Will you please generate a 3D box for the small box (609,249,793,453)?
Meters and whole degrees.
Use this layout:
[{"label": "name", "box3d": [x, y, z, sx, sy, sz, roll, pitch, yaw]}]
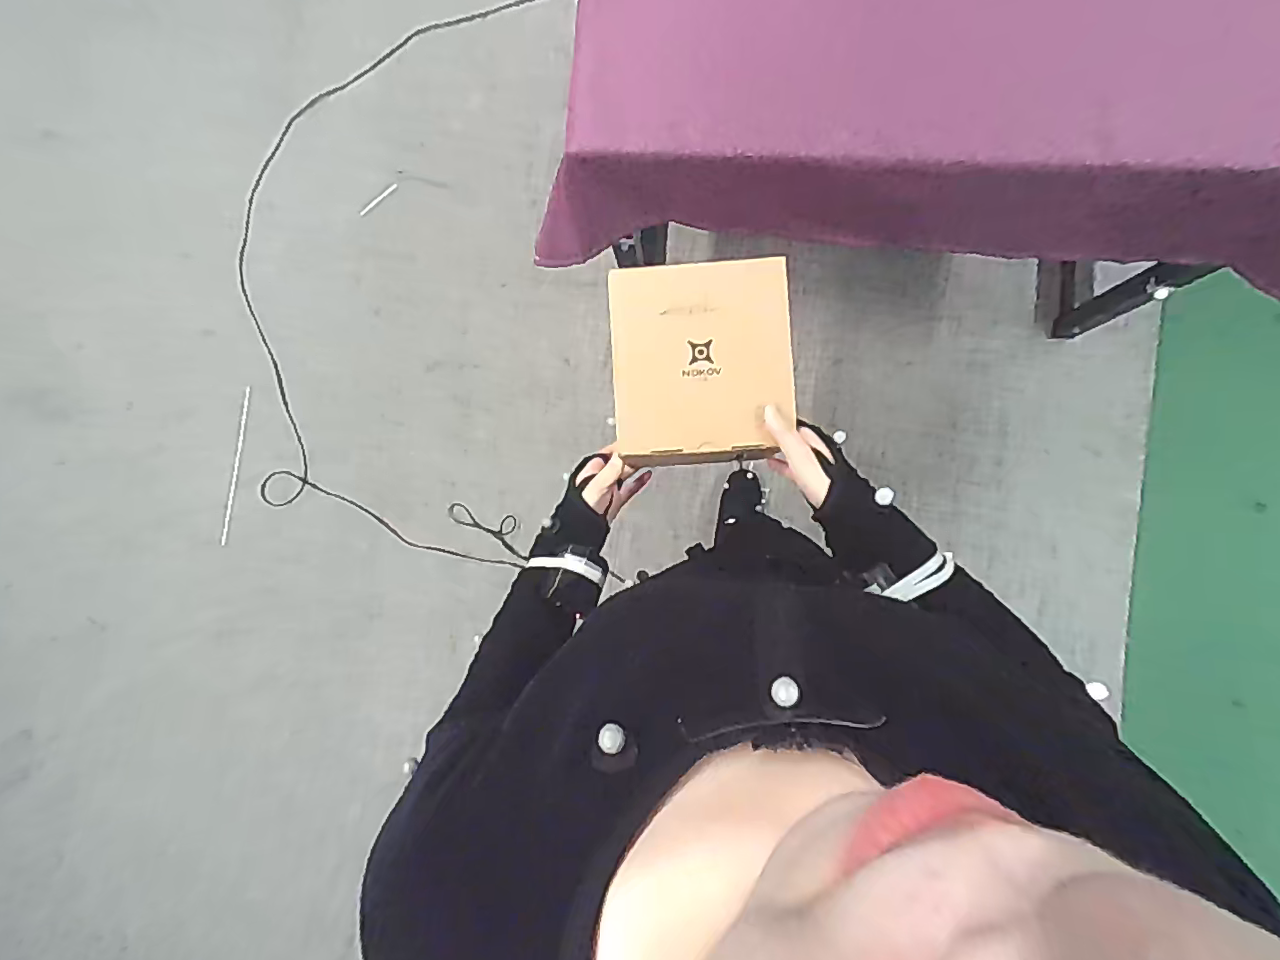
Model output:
[{"label": "small box", "box3d": [0.058, -0.120, 0.573, 0.168, 0.176, 0.179, -3, 88, 2]}]
